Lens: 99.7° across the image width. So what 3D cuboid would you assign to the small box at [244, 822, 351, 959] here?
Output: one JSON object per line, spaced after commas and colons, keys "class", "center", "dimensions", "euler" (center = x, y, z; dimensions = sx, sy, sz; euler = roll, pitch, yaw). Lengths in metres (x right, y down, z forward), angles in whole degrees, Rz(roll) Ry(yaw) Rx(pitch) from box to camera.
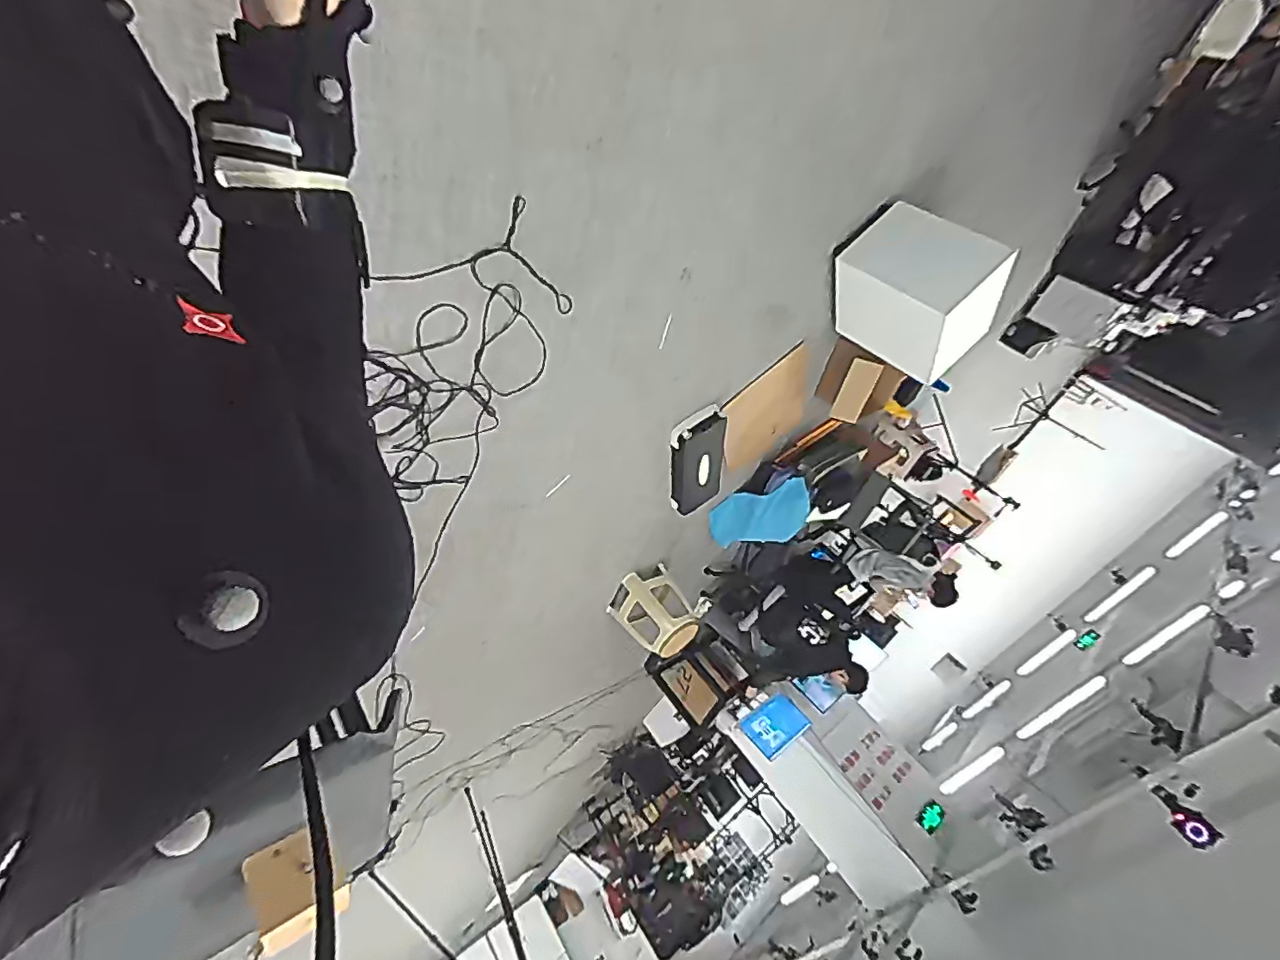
{"class": "small box", "center": [-0.772, 0.918, 1.223], "dimensions": [0.168, 0.176, 0.179], "euler": [-17, 141, -40]}
